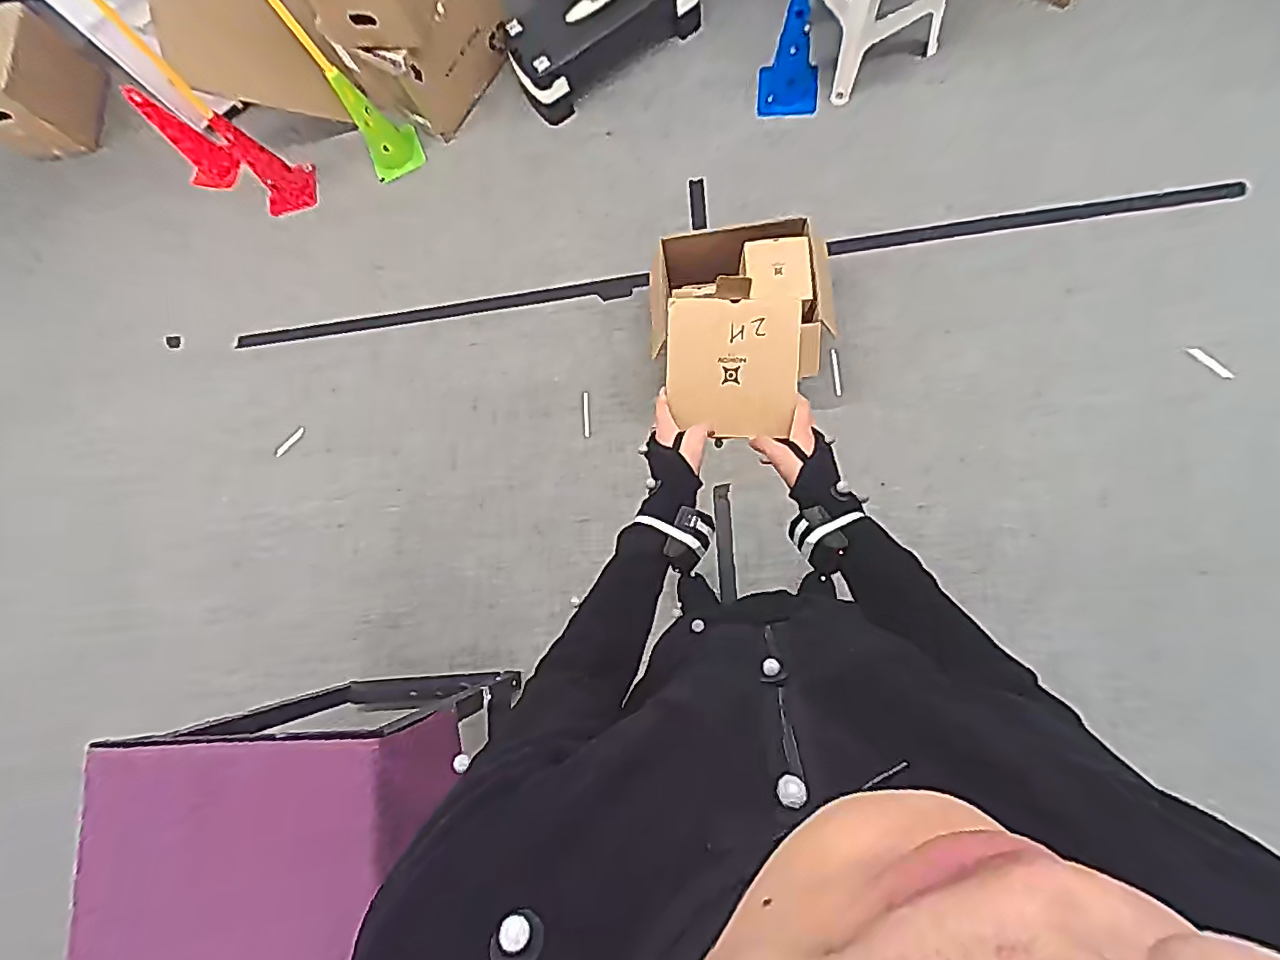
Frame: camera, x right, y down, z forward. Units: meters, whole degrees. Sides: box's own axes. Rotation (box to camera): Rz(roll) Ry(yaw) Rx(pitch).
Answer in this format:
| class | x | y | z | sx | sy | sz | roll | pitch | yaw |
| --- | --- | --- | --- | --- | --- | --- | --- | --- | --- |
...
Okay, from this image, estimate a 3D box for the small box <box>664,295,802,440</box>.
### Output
| class | x | y | z | sx | sy | sz | roll | pitch | yaw |
| --- | --- | --- | --- | --- | --- | --- | --- | --- | --- |
| small box | 0.120 | -0.148 | 0.756 | 0.168 | 0.176 | 0.179 | 2 | 95 | 2 |
